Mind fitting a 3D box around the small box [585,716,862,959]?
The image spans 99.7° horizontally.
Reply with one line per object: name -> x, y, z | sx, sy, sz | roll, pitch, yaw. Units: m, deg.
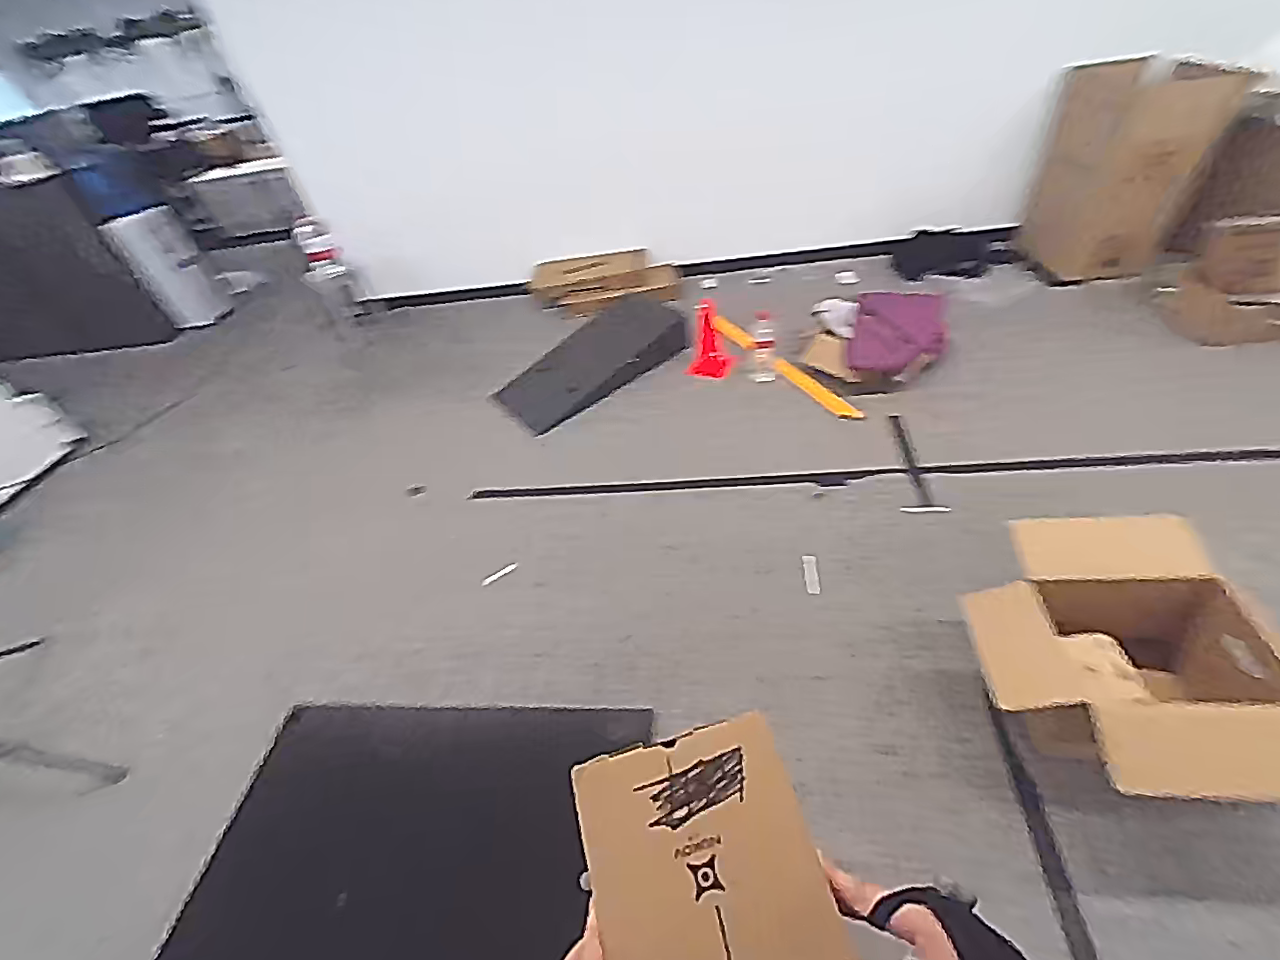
small box -> 0.055, 0.329, 0.459 | 0.168, 0.176, 0.179 | -13, 54, -6
